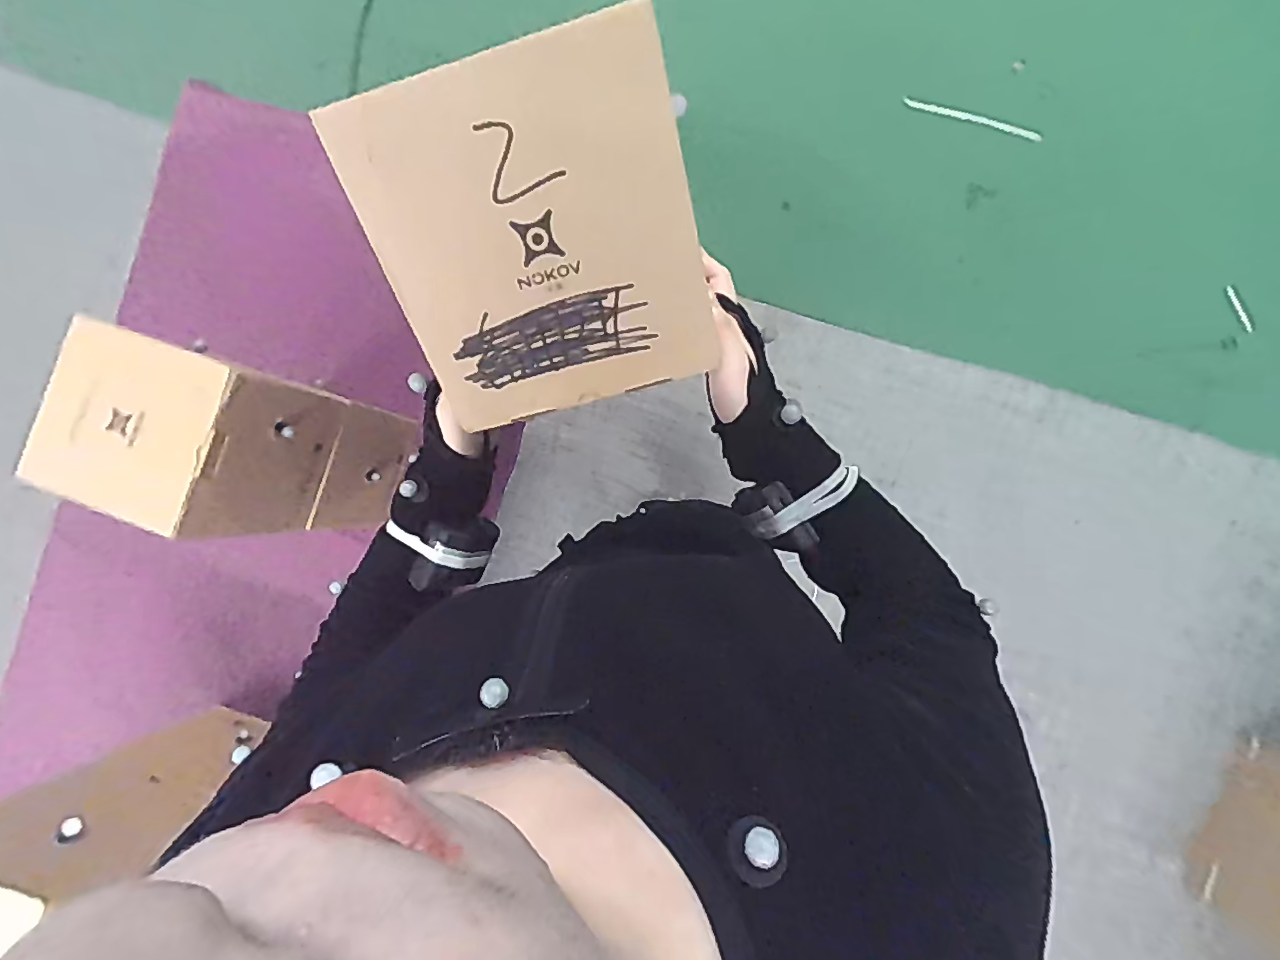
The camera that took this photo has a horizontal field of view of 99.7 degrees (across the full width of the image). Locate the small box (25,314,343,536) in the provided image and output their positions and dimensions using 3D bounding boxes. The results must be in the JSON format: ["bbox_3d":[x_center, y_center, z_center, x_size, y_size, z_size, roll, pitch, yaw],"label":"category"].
[{"bbox_3d":[-0.464,-0.050,0.580,0.179,0.176,0.168,20,89,7],"label":"small box"}]

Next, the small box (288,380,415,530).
[{"bbox_3d":[-0.444,-0.039,0.742,0.179,0.176,0.168,18,88,7],"label":"small box"}]

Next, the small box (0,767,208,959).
[{"bbox_3d":[-0.615,0.435,0.569,0.179,0.176,0.168,14,87,6],"label":"small box"}]

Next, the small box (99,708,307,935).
[{"bbox_3d":[-0.594,0.441,0.732,0.168,0.176,0.179,14,87,7],"label":"small box"}]
